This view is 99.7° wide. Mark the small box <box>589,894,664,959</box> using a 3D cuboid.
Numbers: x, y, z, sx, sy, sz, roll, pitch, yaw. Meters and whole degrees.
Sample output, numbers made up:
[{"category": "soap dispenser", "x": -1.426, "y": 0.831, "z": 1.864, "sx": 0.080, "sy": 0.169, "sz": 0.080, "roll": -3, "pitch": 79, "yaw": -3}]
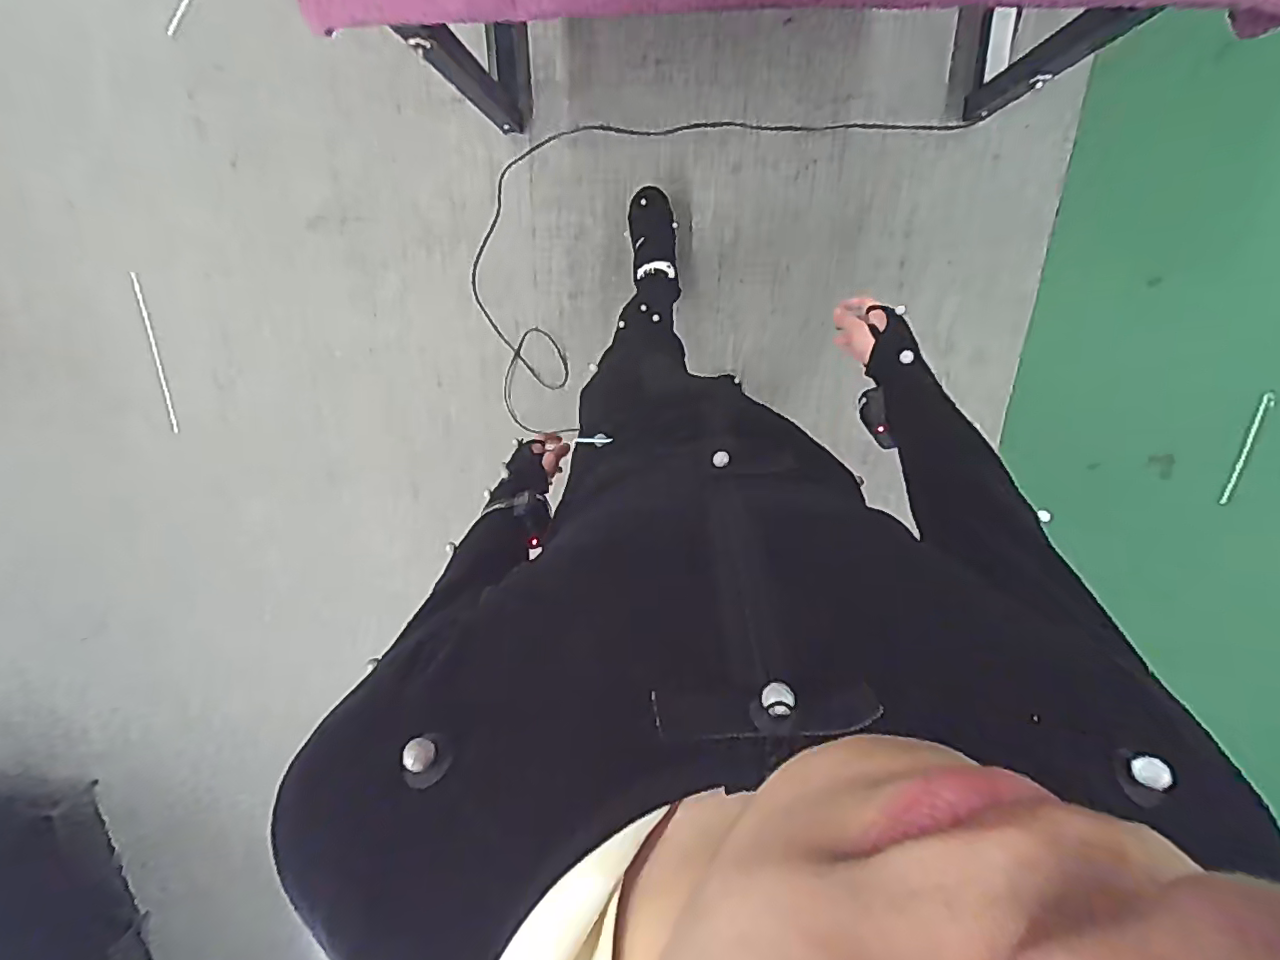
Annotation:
[{"category": "small box", "x": -0.034, "y": 1.167, "z": 1.334, "sx": 0.179, "sy": 0.176, "sz": 0.168, "roll": 6, "pitch": 107, "yaw": 3}]
